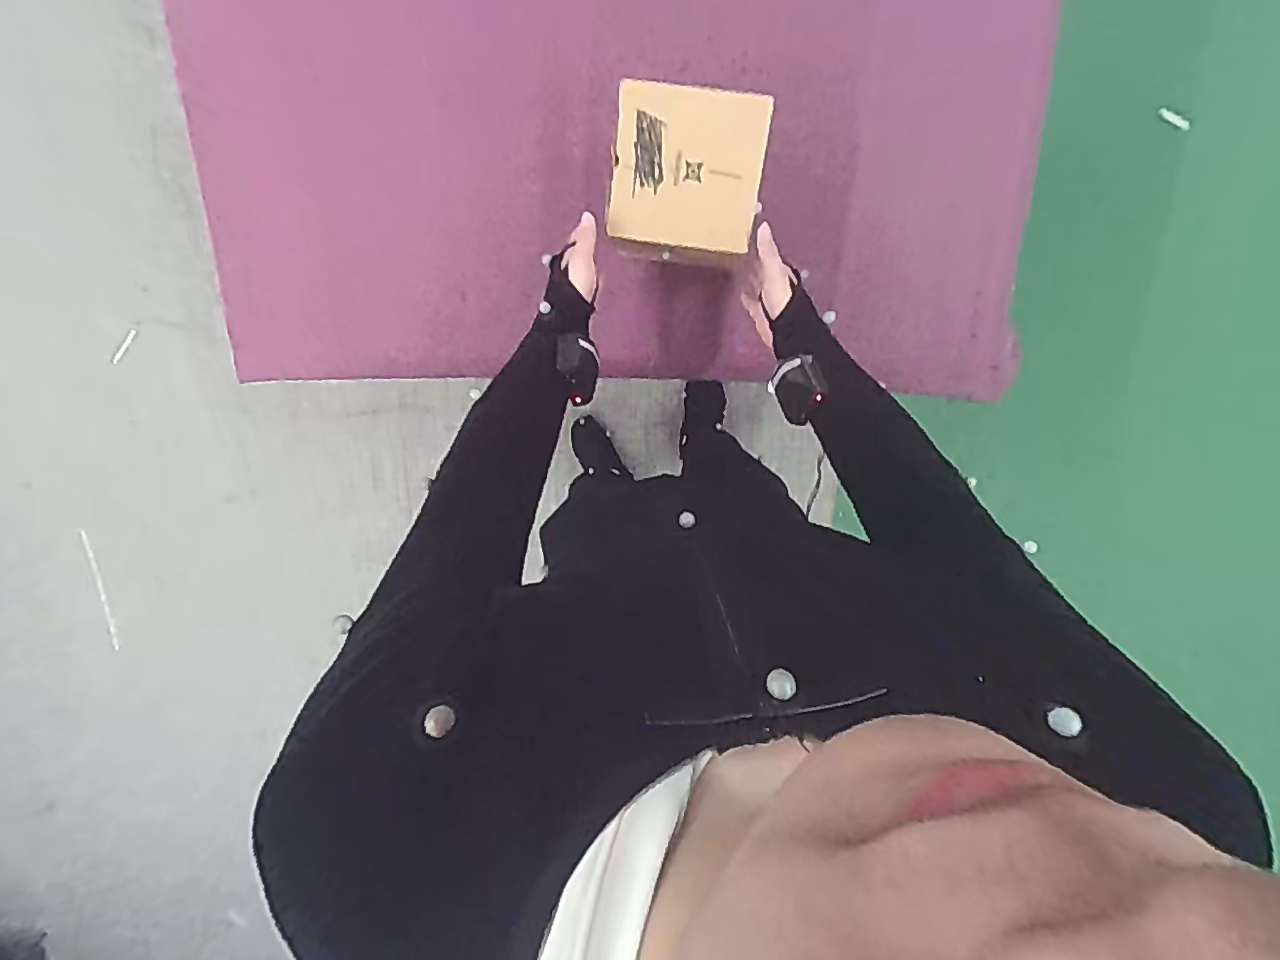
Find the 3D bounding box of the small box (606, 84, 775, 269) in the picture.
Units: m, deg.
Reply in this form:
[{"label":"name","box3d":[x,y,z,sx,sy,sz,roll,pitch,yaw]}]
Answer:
[{"label":"small box","box3d":[0.061,-0.378,0.704,0.179,0.176,0.168,9,106,2]}]
